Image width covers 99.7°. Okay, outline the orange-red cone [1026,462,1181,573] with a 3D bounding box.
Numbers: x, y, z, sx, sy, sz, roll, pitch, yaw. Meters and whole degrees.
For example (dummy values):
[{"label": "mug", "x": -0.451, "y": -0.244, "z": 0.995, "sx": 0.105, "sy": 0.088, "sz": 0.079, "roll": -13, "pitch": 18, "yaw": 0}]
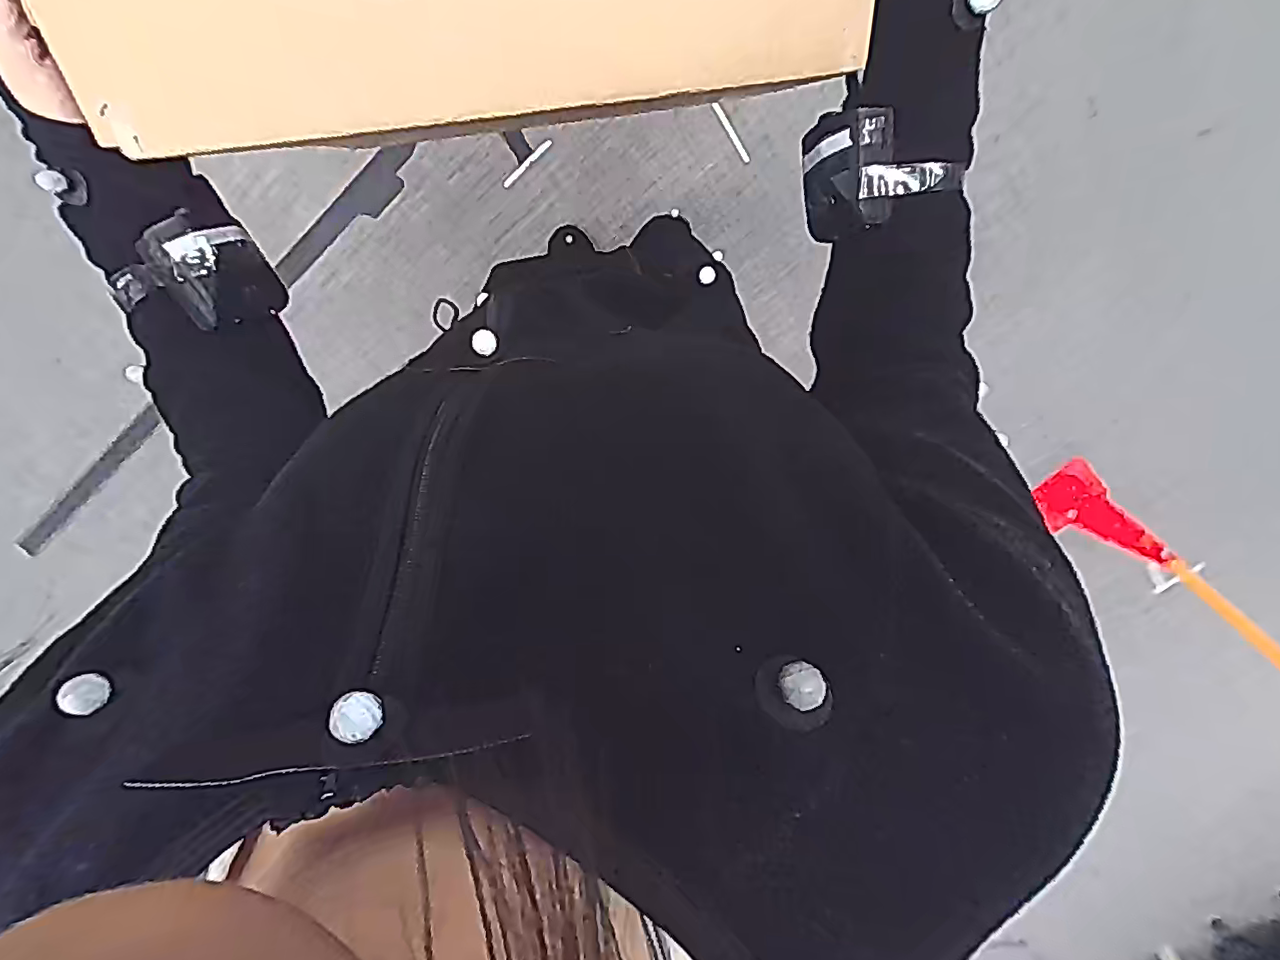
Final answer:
[{"label": "orange-red cone", "x": 1.305, "y": 0.134, "z": 1.489, "sx": 0.198, "sy": 0.360, "sz": 0.199, "roll": 39, "pitch": 107, "yaw": -21}]
